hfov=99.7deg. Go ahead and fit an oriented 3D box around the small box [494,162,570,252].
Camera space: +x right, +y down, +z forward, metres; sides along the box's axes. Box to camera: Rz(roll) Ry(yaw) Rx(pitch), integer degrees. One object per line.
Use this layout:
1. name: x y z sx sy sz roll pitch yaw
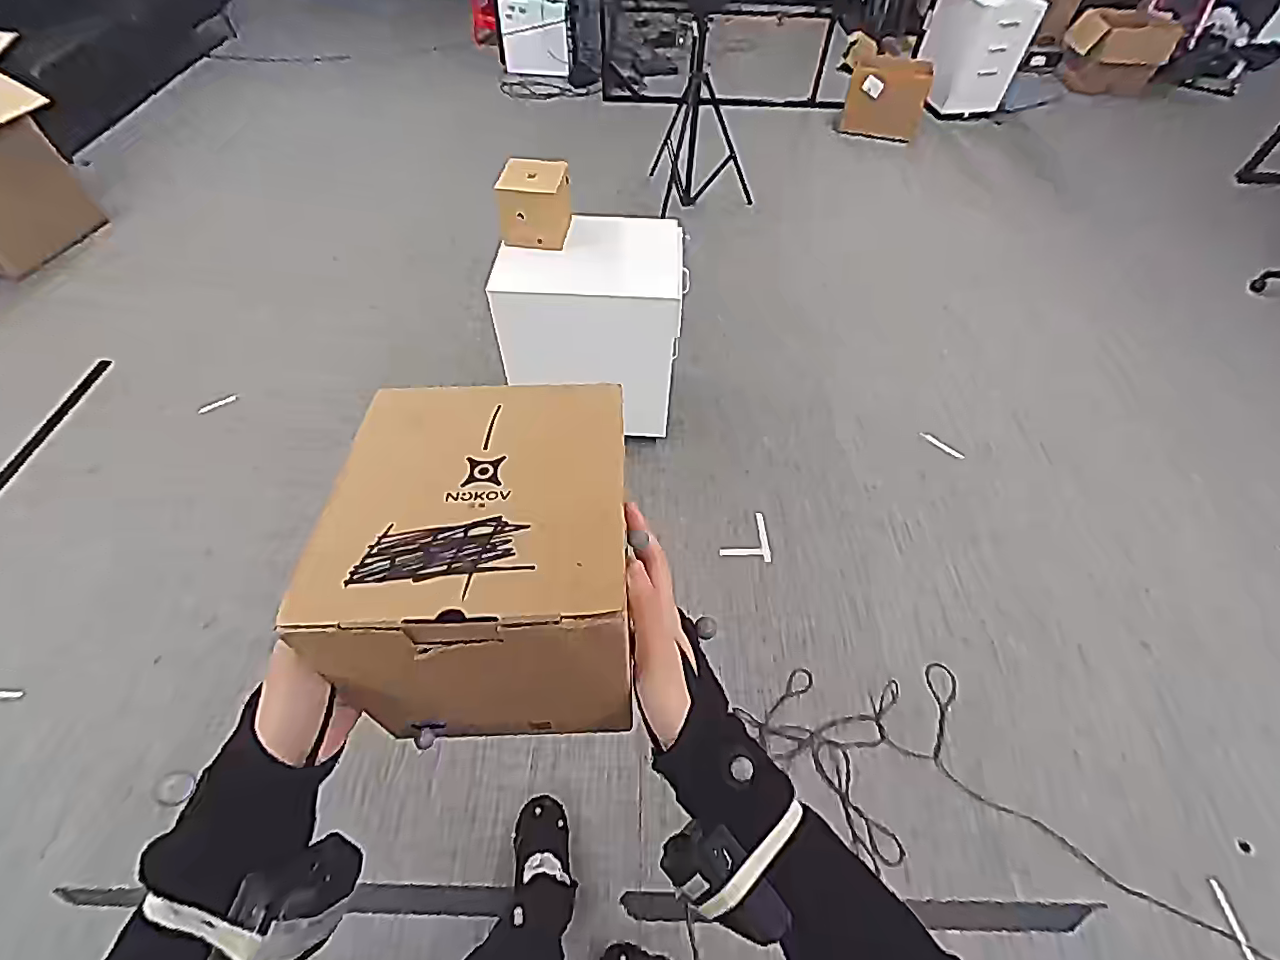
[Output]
1. small box: -0.295 -0.763 1.519 0.168 0.176 0.179 5 54 2
